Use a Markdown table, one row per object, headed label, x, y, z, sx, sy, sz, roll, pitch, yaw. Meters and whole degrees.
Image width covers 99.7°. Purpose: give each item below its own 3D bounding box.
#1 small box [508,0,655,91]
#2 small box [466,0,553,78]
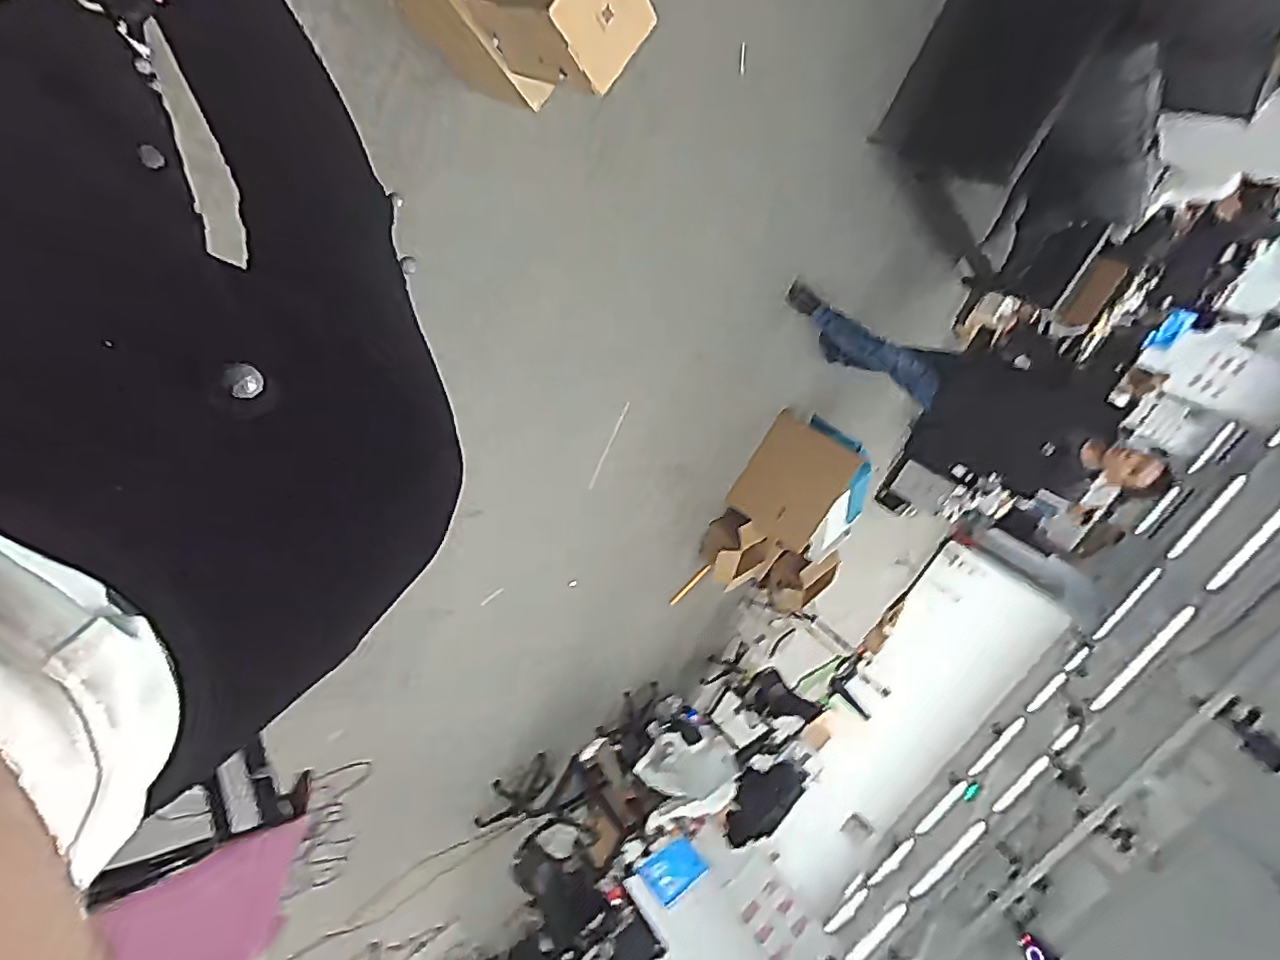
| label | x | y | z | sx | sy | sz | roll | pitch | yaw |
| --- | --- | --- | --- | --- | --- | --- | --- | --- | --- |
| small box | -0.113 | -0.850 | 0.969 | 0.179 | 0.176 | 0.168 | -52 | 147 | 4 |
| small box | -0.210 | -0.944 | 1.061 | 0.179 | 0.176 | 0.168 | -50 | 146 | 3 |
